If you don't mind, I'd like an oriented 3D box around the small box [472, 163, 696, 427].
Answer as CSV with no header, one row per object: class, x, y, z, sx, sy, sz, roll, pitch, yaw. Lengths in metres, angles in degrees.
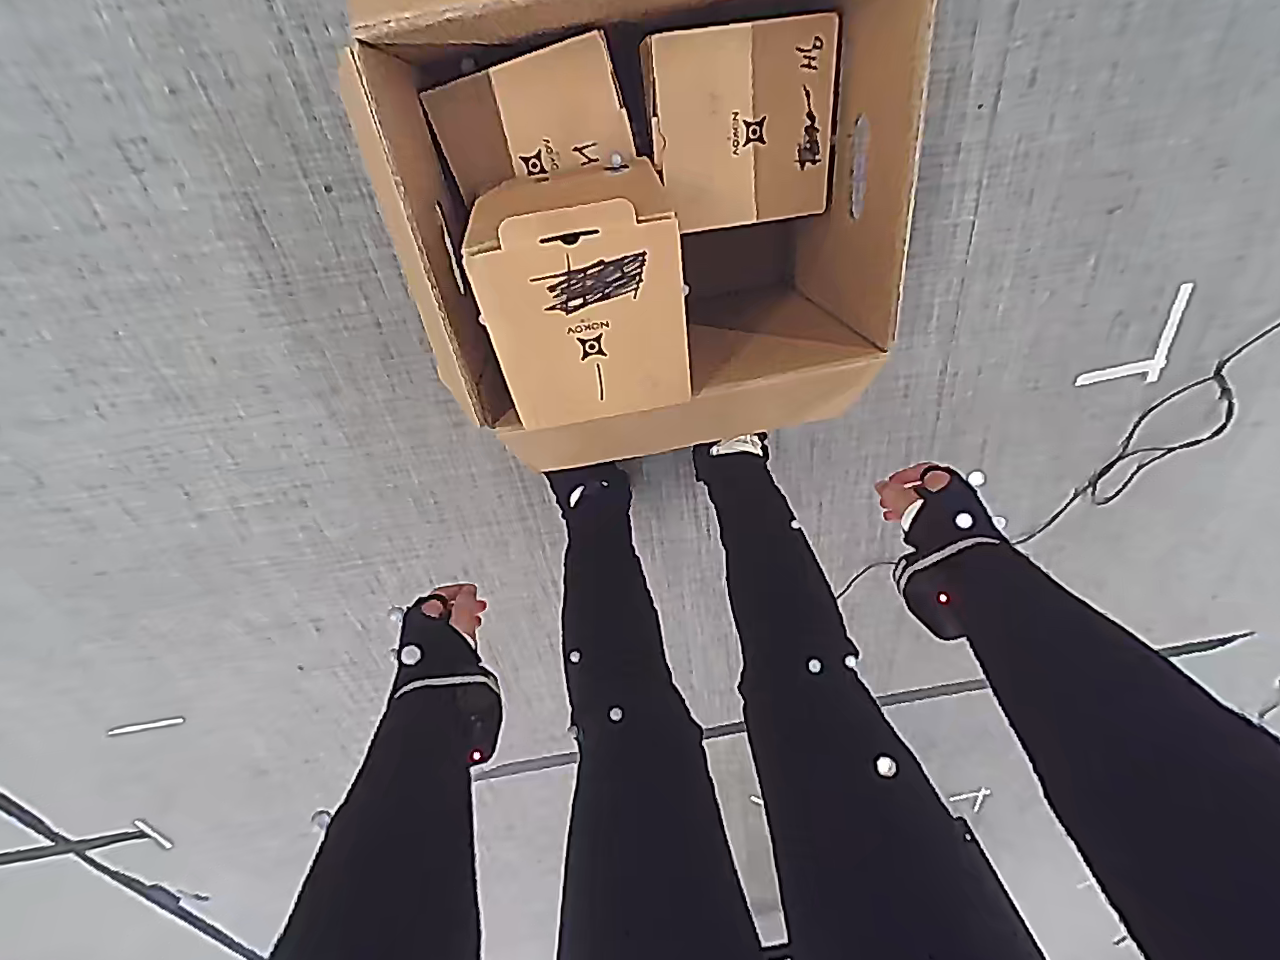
small box,-0.046,-0.179,0.510,0.168,0.176,0.179,-10,135,0
